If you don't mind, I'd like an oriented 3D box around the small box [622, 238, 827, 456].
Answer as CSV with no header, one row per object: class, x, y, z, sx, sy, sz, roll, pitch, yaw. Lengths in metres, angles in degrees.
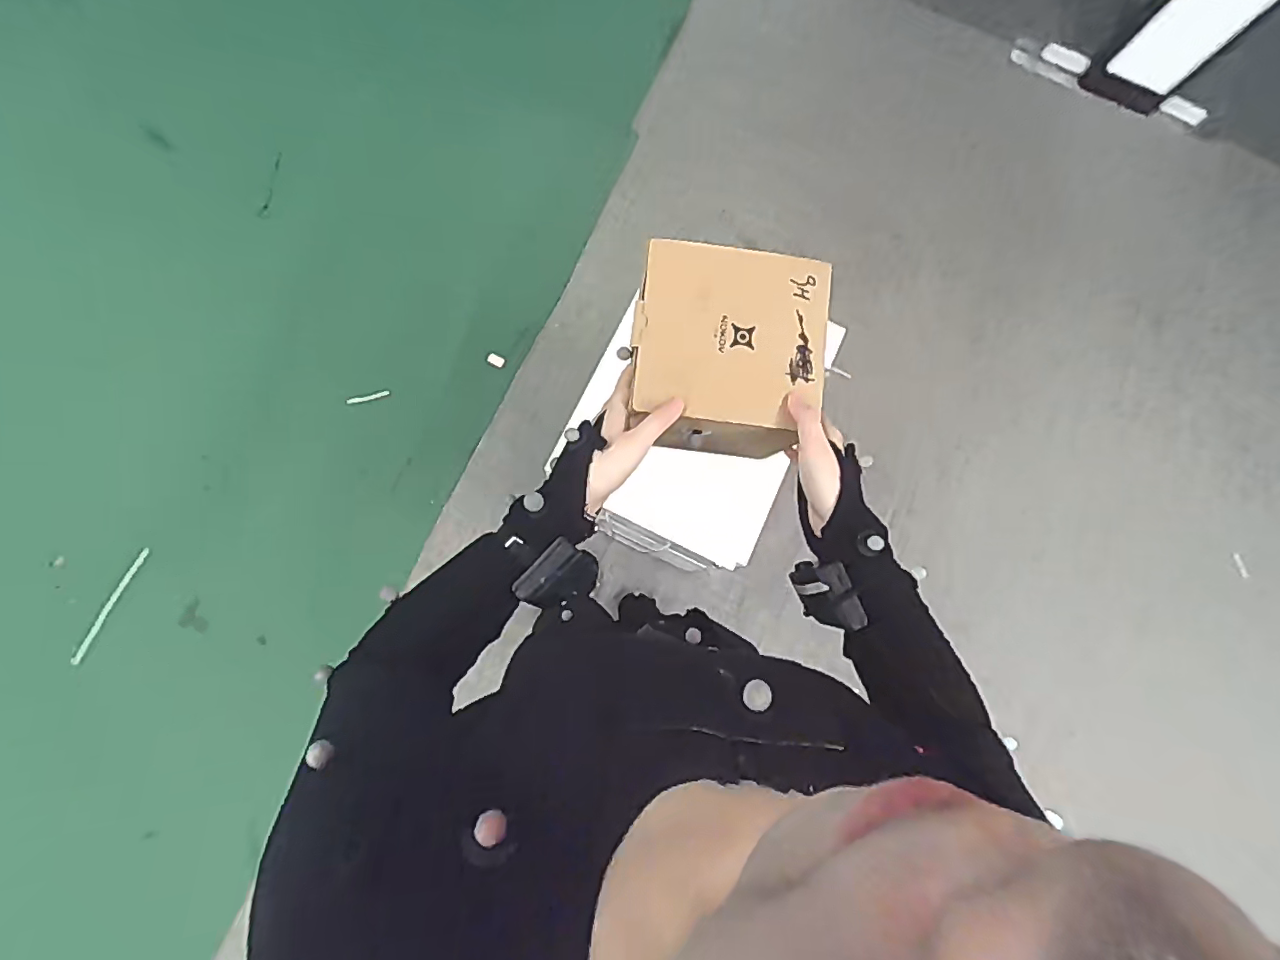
small box,0.076,-0.124,0.569,0.179,0.176,0.168,6,83,-3
